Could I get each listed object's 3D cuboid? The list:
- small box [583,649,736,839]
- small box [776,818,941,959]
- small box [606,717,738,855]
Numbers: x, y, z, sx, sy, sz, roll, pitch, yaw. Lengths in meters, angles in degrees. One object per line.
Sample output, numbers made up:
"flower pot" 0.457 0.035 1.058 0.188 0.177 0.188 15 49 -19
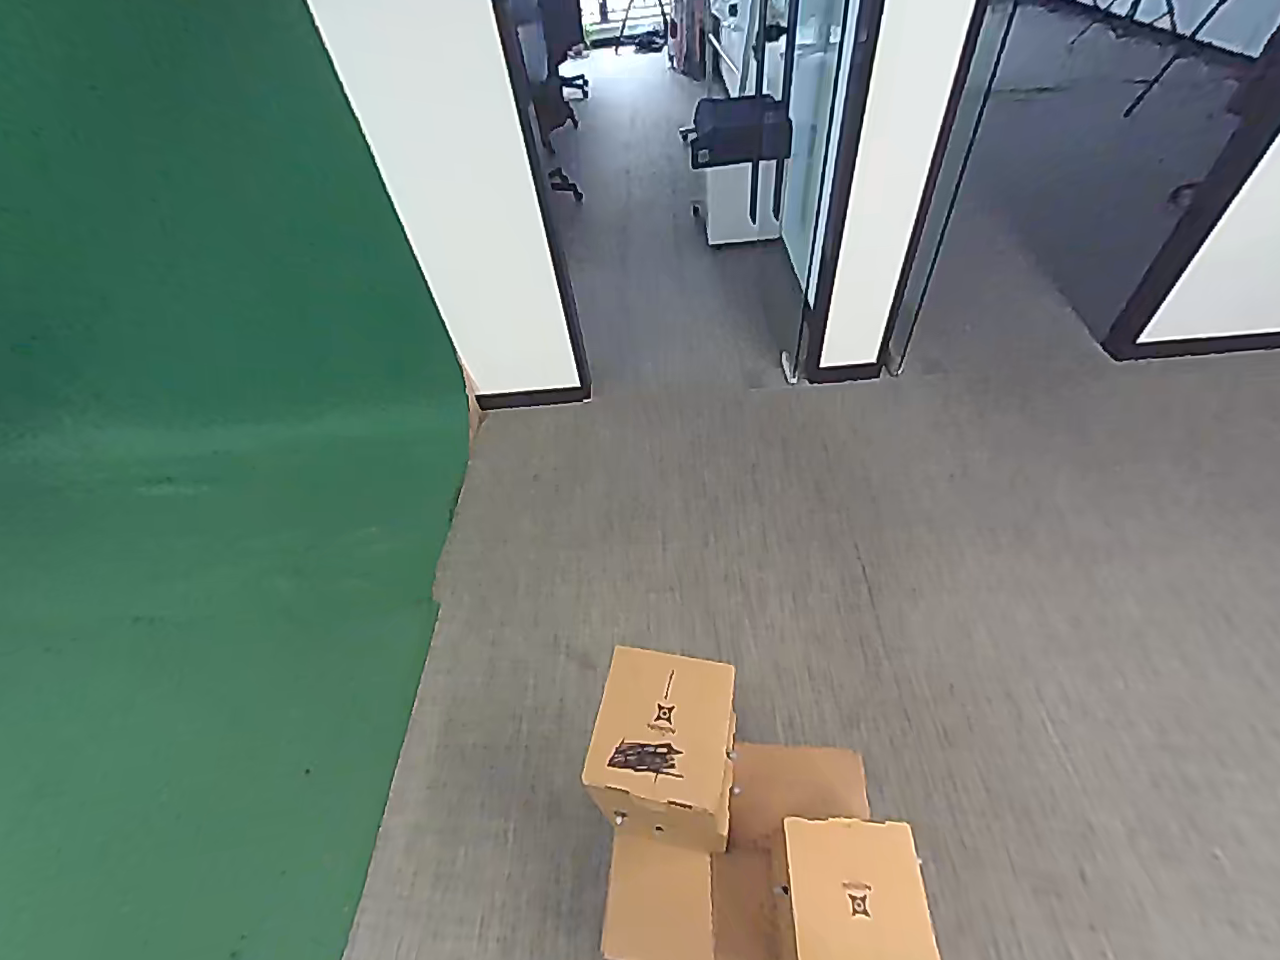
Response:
"small box" 0.037 0.359 0.732 0.168 0.176 0.179 6 48 13
"small box" 0.280 0.574 0.727 0.168 0.176 0.179 -2 48 6
"small box" 0.058 0.470 0.852 0.179 0.176 0.168 5 50 11
